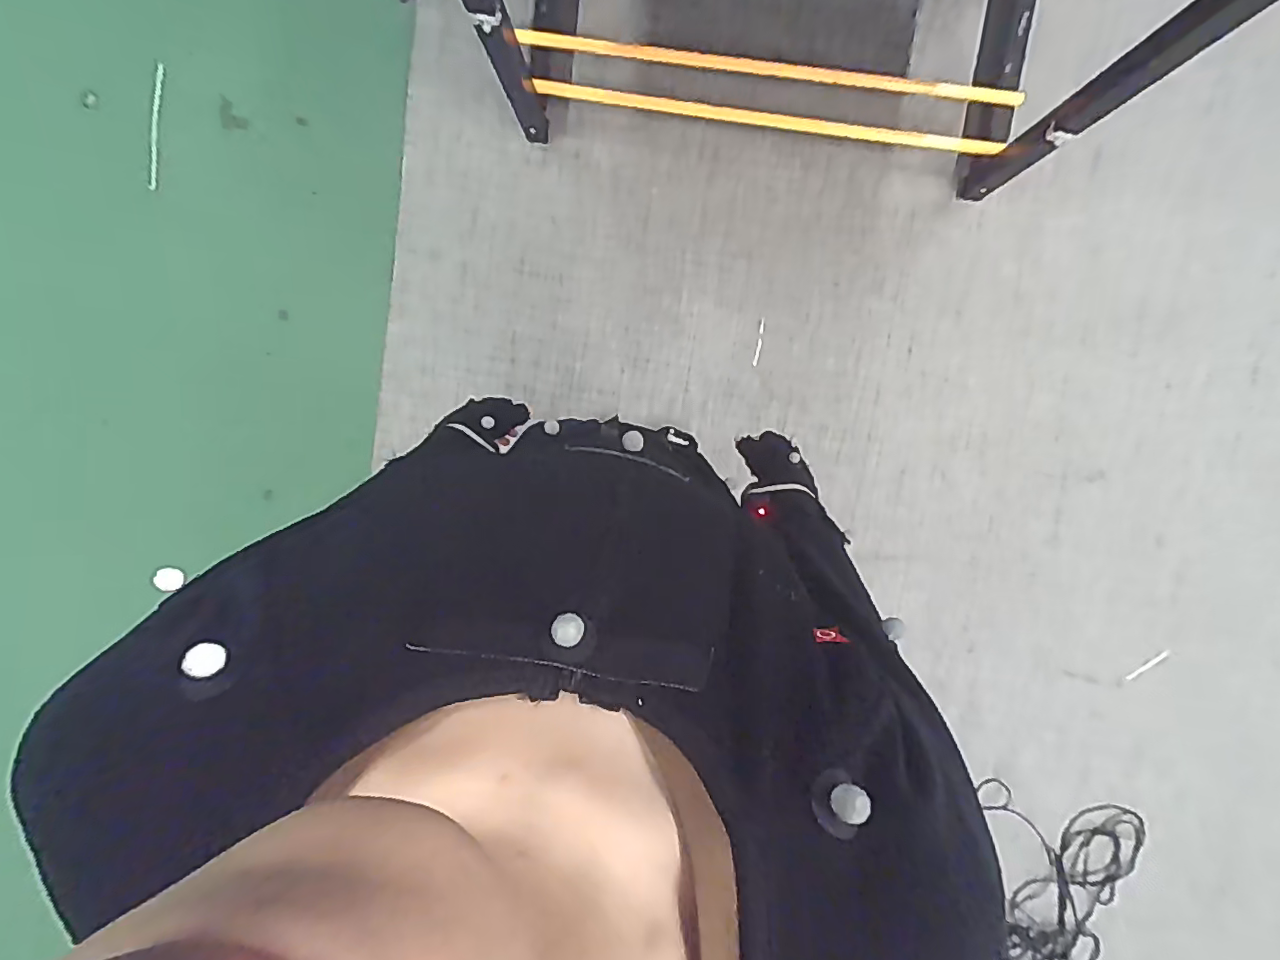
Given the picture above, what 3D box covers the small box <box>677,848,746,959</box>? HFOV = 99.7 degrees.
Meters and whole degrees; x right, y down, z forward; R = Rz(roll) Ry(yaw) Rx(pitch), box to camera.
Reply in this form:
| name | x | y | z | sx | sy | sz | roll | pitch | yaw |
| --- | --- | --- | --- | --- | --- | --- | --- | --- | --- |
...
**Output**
| name | x | y | z | sx | sy | sz | roll | pitch | yaw |
| --- | --- | --- | --- | --- | --- | --- | --- | --- | --- |
| small box | 0.197 | 1.196 | 1.533 | 0.168 | 0.176 | 0.179 | 6 | 96 | 0 |
